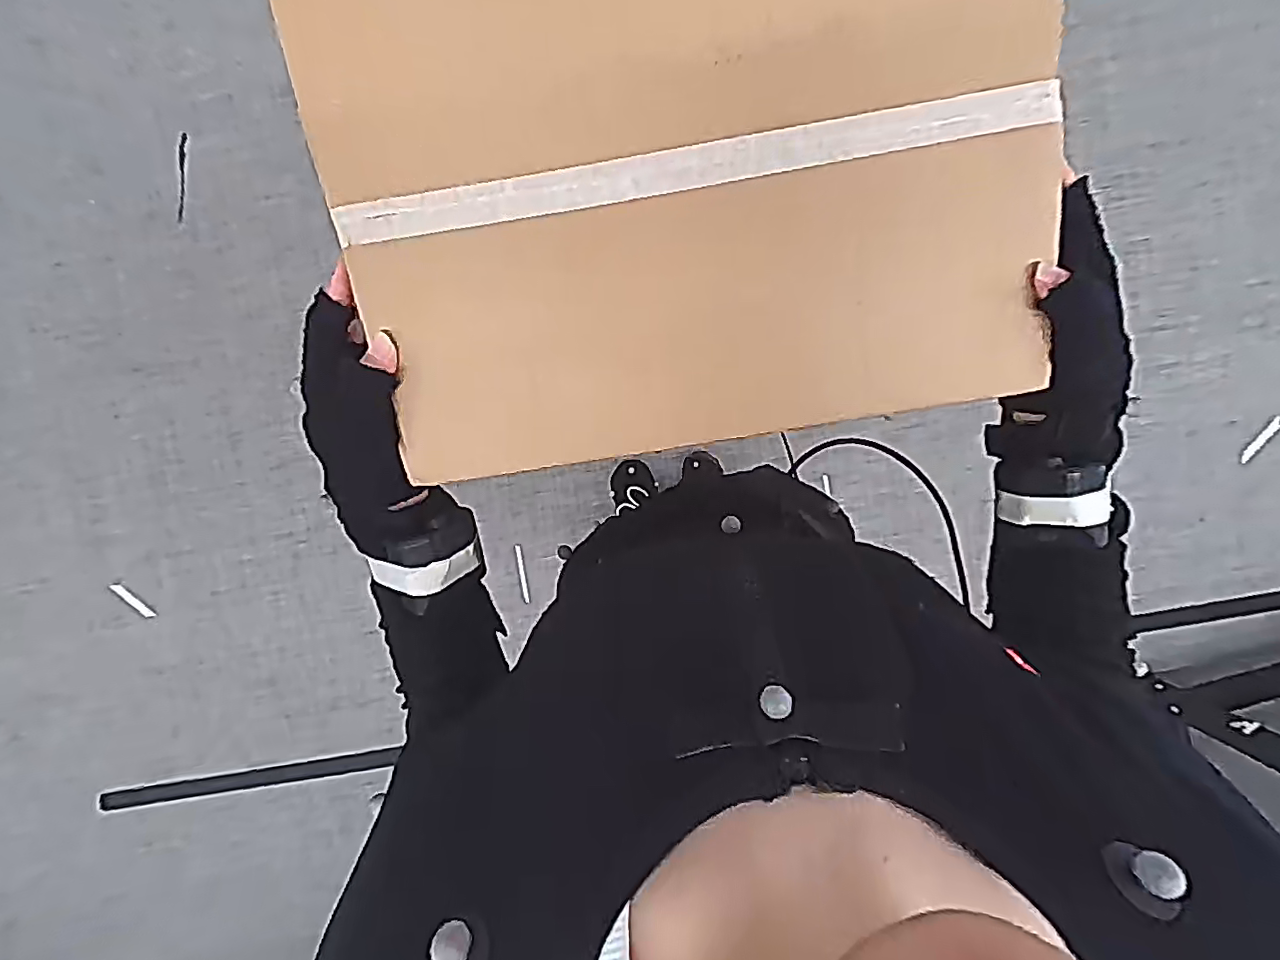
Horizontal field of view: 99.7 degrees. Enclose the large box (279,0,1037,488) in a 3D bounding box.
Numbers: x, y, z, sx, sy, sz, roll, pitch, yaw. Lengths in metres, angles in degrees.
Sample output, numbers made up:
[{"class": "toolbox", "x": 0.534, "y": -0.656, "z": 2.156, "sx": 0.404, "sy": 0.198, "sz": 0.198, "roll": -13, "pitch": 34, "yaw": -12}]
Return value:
[{"class": "large box", "x": 0.025, "y": -0.213, "z": 0.455, "sx": 0.408, "sy": 0.320, "sz": 0.320, "roll": -9, "pitch": 105, "yaw": 2}]
